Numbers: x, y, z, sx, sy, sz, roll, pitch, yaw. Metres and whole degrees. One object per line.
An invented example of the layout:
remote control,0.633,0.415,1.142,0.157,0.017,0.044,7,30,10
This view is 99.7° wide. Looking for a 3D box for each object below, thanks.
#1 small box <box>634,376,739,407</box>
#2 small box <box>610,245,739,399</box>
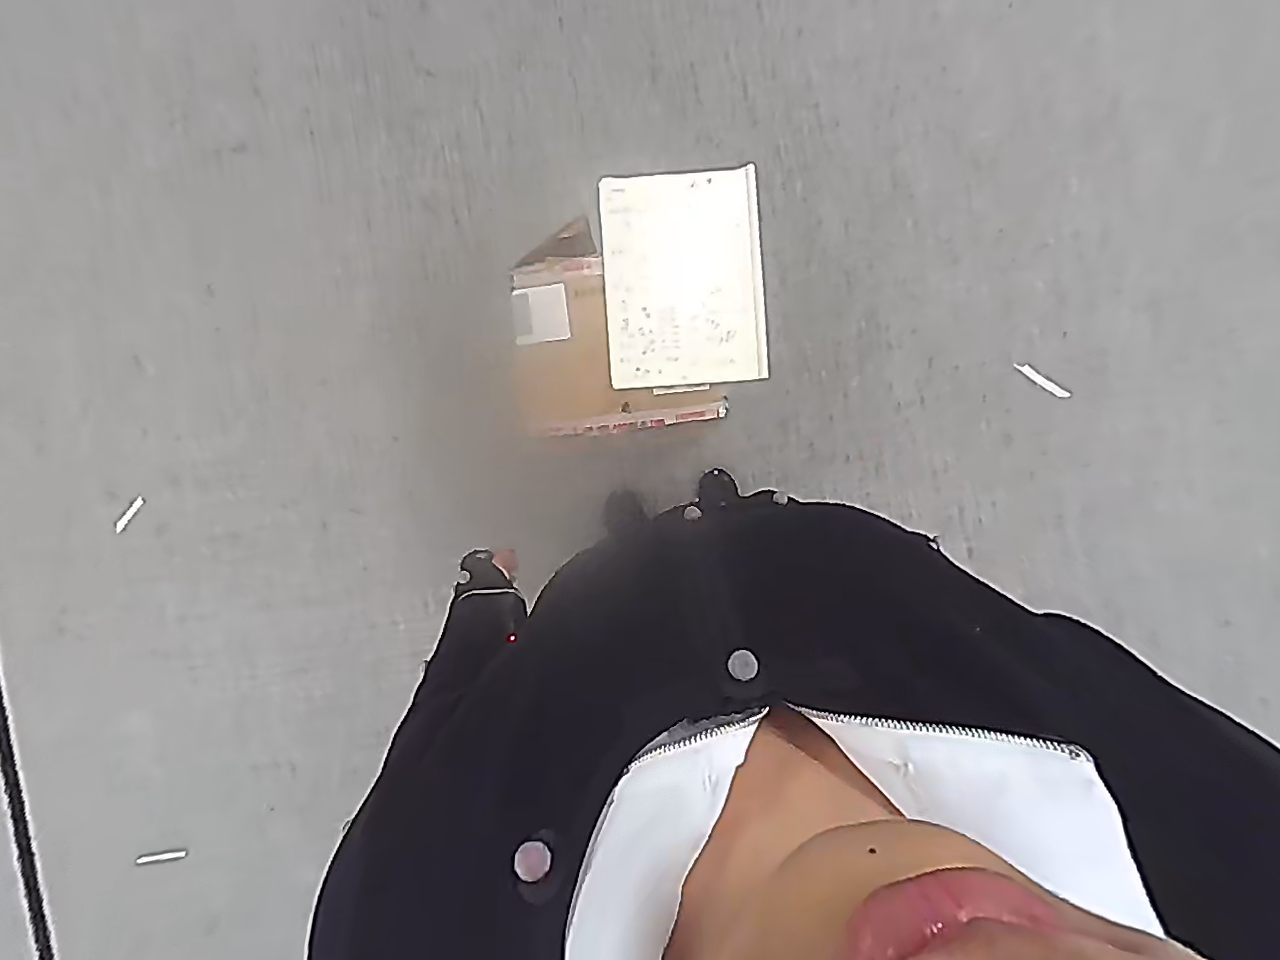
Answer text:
small box,0.066,-0.227,0.953,0.179,0.176,0.168,-8,91,1
small box,0.045,-0.219,0.789,0.168,0.176,0.179,-4,92,1
